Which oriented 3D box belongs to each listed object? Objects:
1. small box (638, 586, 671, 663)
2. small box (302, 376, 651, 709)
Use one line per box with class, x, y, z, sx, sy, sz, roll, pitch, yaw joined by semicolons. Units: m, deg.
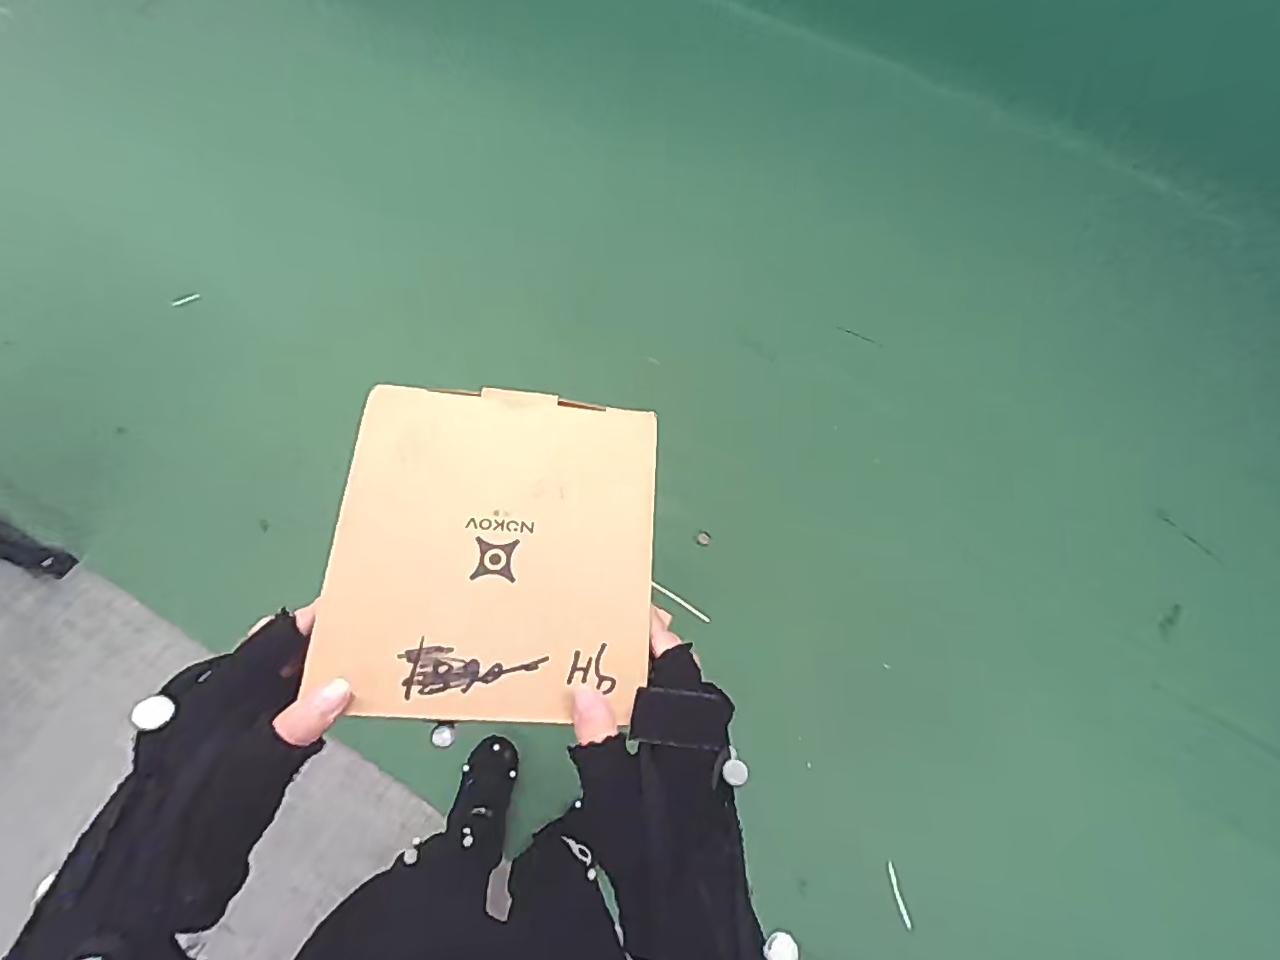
small box;-0.049;0.333;1.252;0.168;0.176;0.179;30;70;9
small box;-0.090;0.053;0.370;0.168;0.176;0.179;5;72;-7
